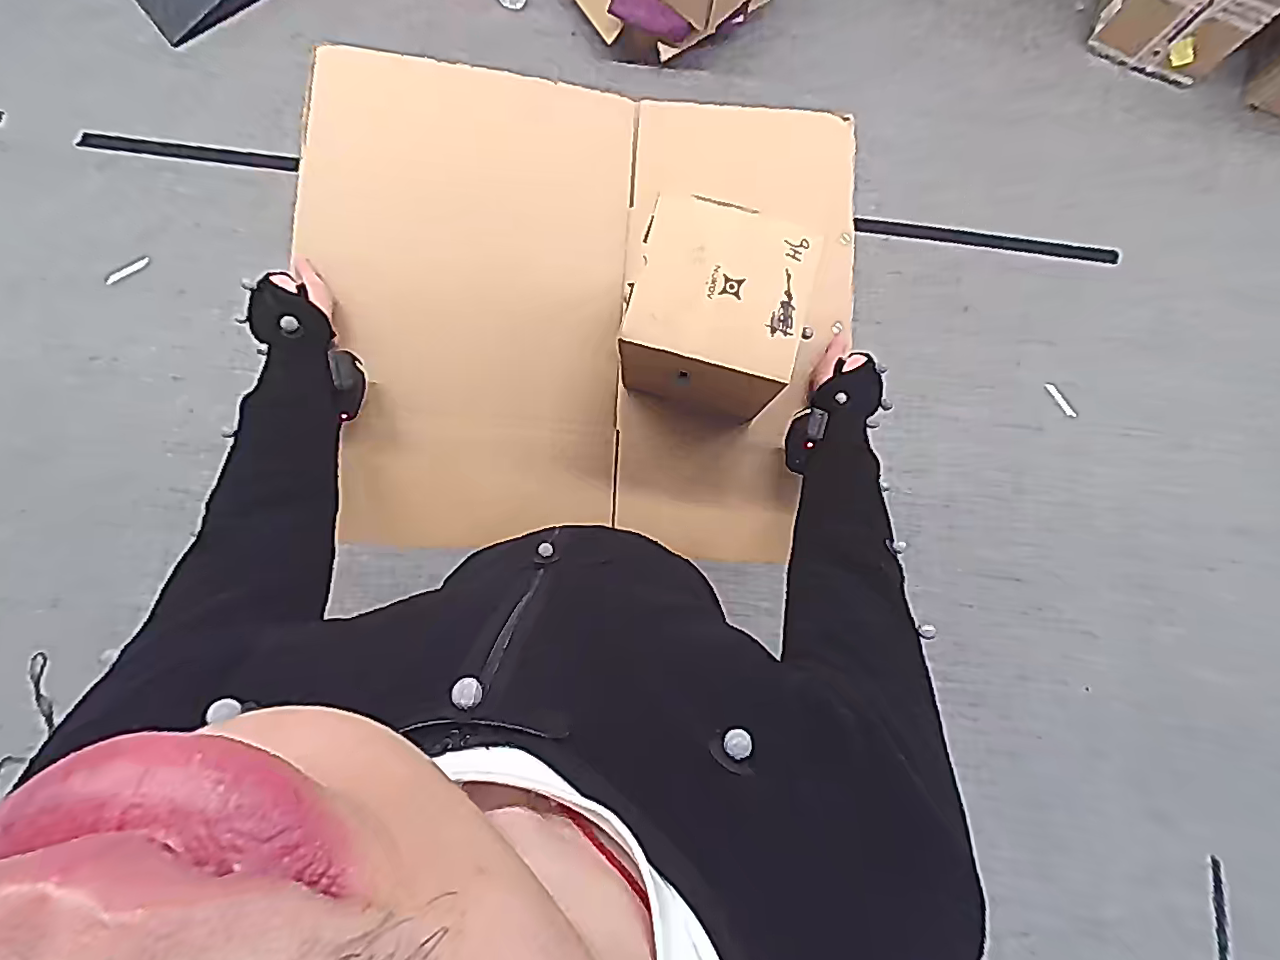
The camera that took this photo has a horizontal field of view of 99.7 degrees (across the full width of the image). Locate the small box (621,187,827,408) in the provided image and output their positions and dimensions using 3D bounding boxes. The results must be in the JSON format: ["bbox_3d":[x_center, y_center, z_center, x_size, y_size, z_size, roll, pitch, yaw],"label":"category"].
[{"bbox_3d":[0.086,-0.193,0.620,0.179,0.176,0.168,15,85,2],"label":"small box"}]
